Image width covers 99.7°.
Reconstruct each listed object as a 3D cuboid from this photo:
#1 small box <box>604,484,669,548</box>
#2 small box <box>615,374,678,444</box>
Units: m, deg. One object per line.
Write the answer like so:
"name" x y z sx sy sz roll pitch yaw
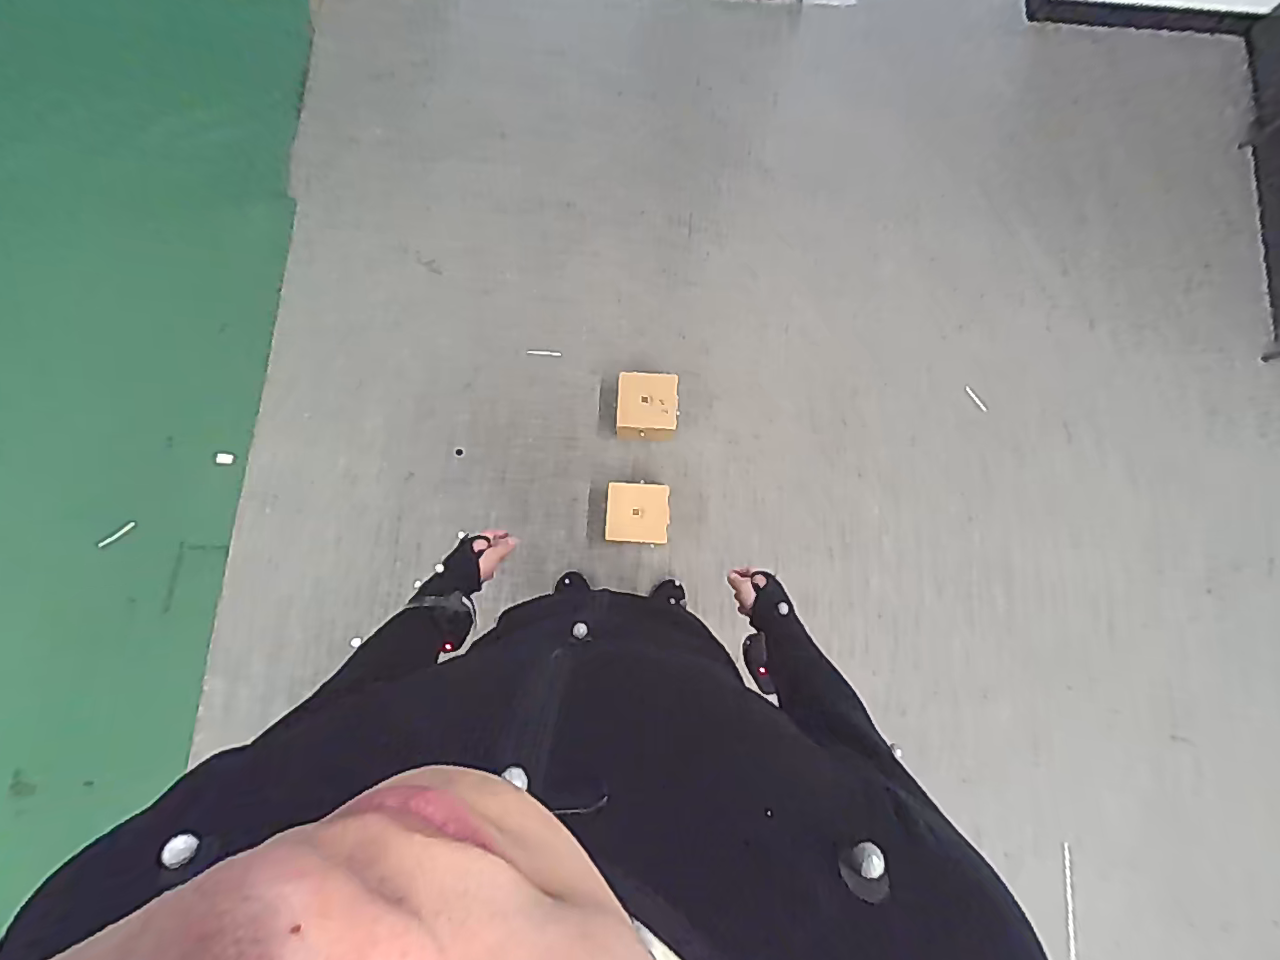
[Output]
"small box" -0.011 0.110 1.584 0.179 0.176 0.168 3 80 -2
"small box" 0.018 -0.209 1.635 0.179 0.176 0.168 4 81 -1
